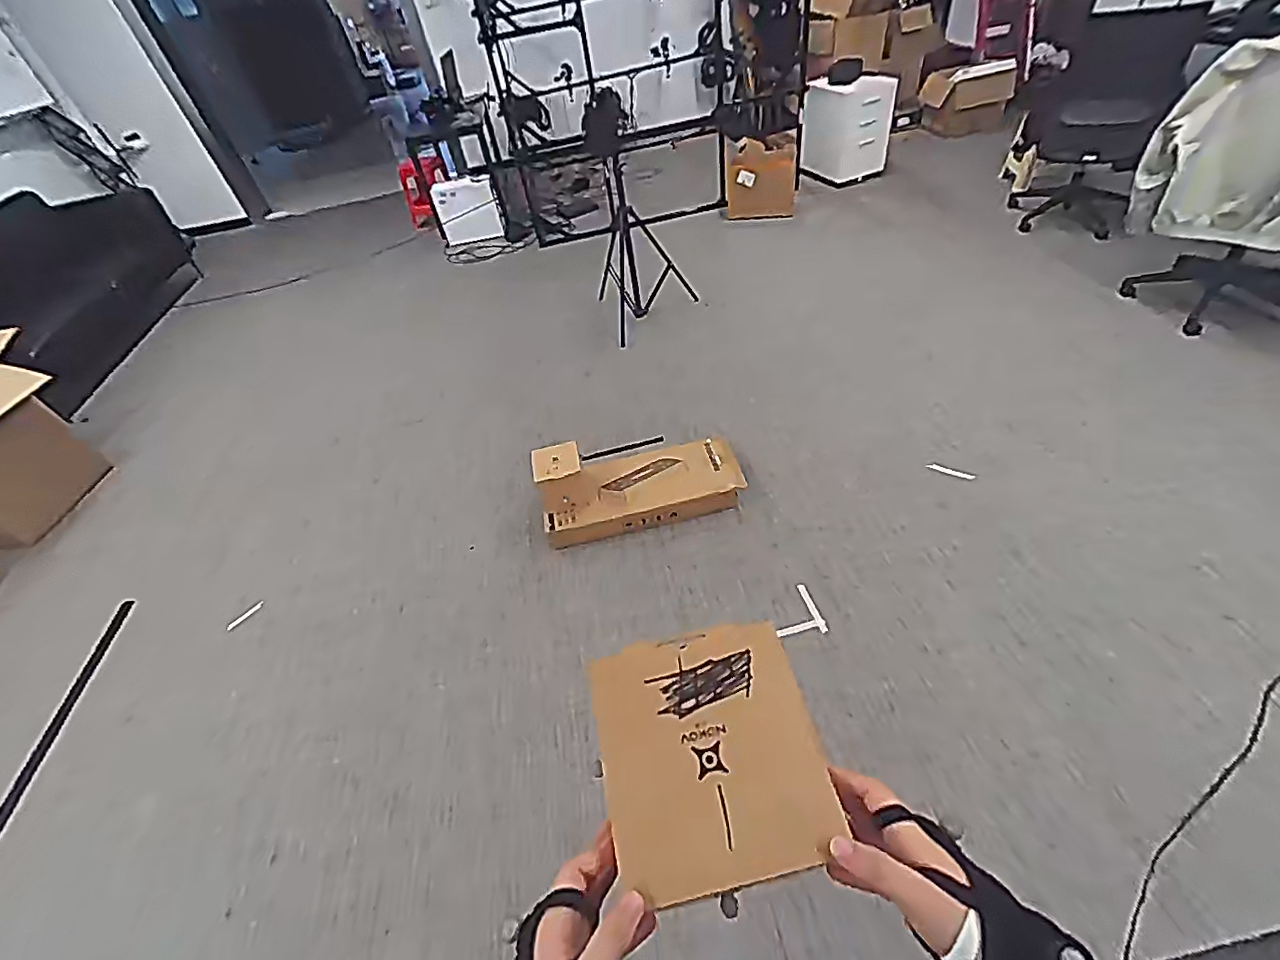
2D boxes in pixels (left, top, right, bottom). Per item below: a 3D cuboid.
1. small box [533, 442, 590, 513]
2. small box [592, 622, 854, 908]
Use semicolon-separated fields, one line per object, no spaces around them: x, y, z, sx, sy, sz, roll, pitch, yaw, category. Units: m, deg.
-0.283;-0.008;1.958;0.168;0.176;0.179;-14;44;-3;small box
0.057;0.255;0.481;0.168;0.176;0.179;-12;52;-4;small box
